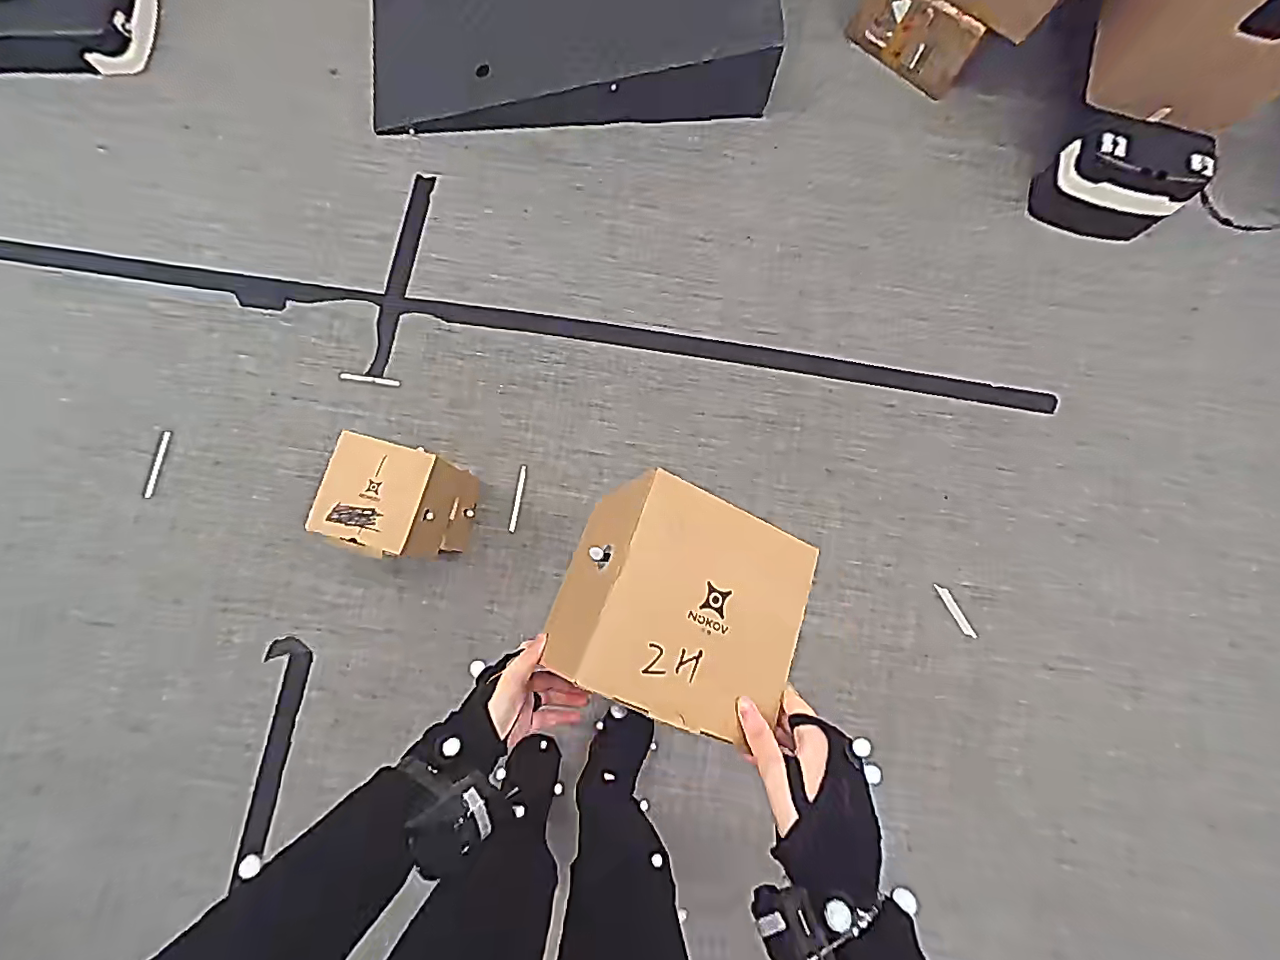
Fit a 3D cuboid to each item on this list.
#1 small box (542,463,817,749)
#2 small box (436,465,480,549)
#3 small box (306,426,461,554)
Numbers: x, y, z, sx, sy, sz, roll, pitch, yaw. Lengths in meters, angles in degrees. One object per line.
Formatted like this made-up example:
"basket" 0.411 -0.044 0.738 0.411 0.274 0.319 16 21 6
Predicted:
"small box" 0.026 0.111 0.494 0.168 0.176 0.179 27 70 -14
"small box" -0.447 0.045 1.119 0.179 0.176 0.168 12 81 -1
"small box" -0.438 0.027 0.955 0.168 0.176 0.179 16 80 0
